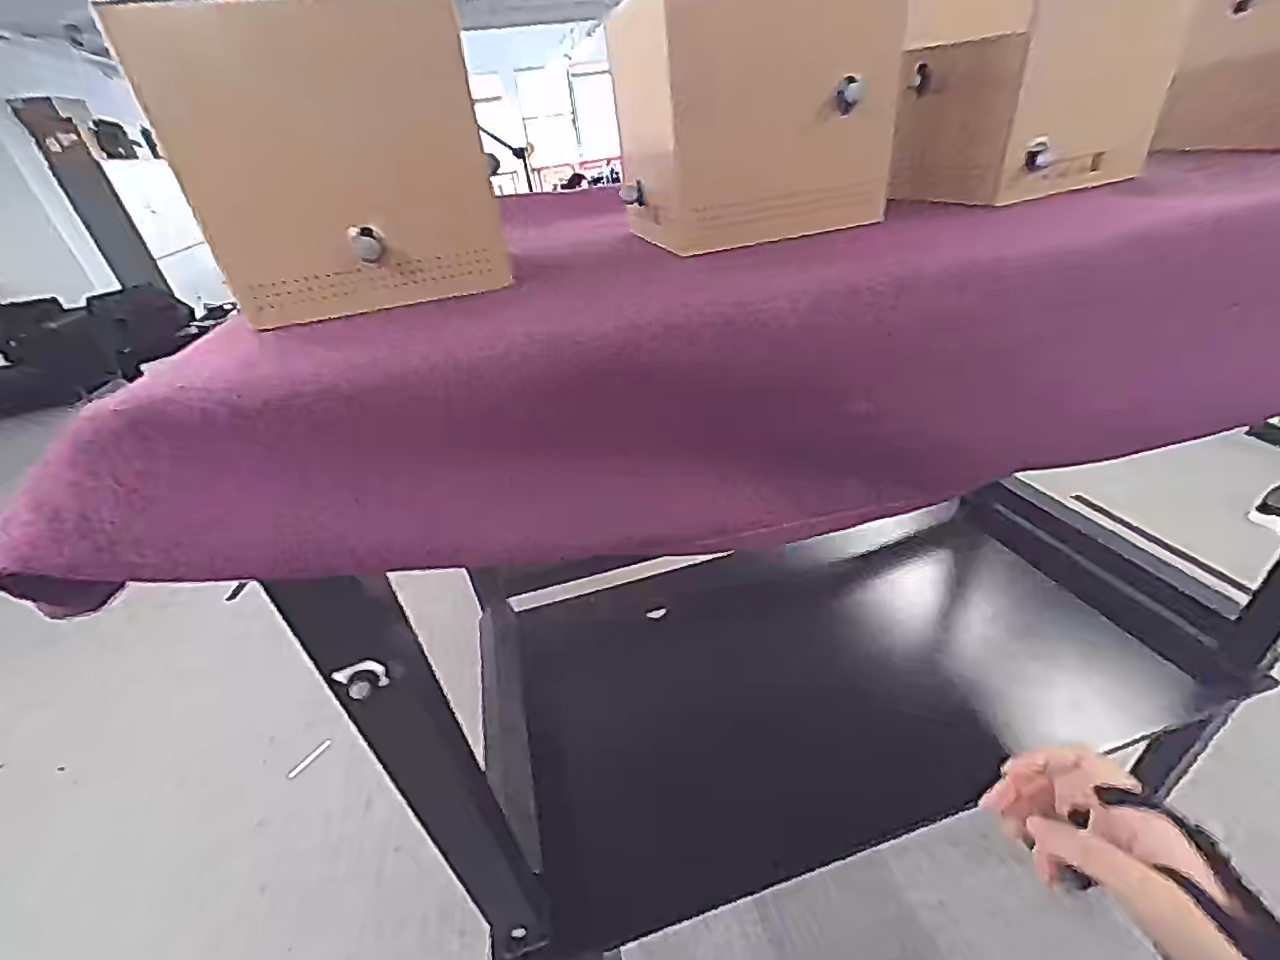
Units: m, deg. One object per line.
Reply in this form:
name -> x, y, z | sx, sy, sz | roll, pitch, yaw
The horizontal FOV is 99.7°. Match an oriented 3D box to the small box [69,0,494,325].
small box -> -0.208, -0.223, 0.379 | 0.179, 0.176, 0.168 | -15, 33, -13

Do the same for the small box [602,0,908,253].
small box -> 0.079, -0.294, 0.434 | 0.179, 0.176, 0.168 | -14, 33, -9

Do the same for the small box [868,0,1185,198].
small box -> 0.315, -0.349, 0.466 | 0.168, 0.176, 0.179 | -17, 33, -14
